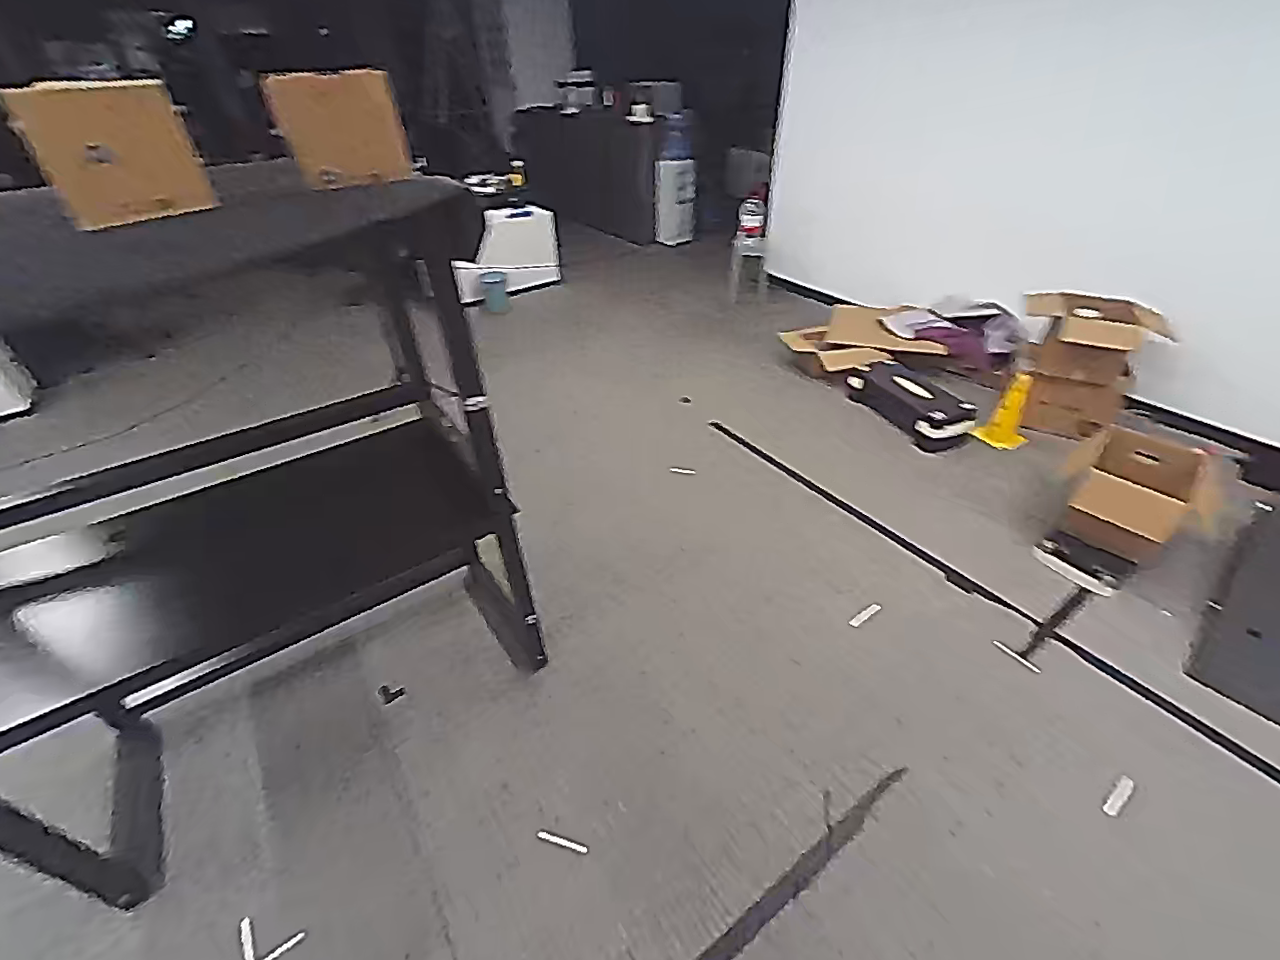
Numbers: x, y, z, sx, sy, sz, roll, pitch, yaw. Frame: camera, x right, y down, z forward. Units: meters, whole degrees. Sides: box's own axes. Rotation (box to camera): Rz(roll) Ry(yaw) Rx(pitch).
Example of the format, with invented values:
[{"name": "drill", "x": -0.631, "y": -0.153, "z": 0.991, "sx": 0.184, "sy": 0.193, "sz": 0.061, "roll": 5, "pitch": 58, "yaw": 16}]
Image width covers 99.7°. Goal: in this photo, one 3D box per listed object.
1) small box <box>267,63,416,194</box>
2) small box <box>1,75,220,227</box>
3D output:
[{"name": "small box", "x": -0.501, "y": -0.592, "z": 0.917, "sx": 0.168, "sy": 0.176, "sz": 0.179, "roll": -23, "pitch": 39, "yaw": -24}, {"name": "small box", "x": -0.748, "y": -0.478, "z": 0.788, "sx": 0.168, "sy": 0.176, "sz": 0.179, "roll": -26, "pitch": 42, "yaw": -27}]
